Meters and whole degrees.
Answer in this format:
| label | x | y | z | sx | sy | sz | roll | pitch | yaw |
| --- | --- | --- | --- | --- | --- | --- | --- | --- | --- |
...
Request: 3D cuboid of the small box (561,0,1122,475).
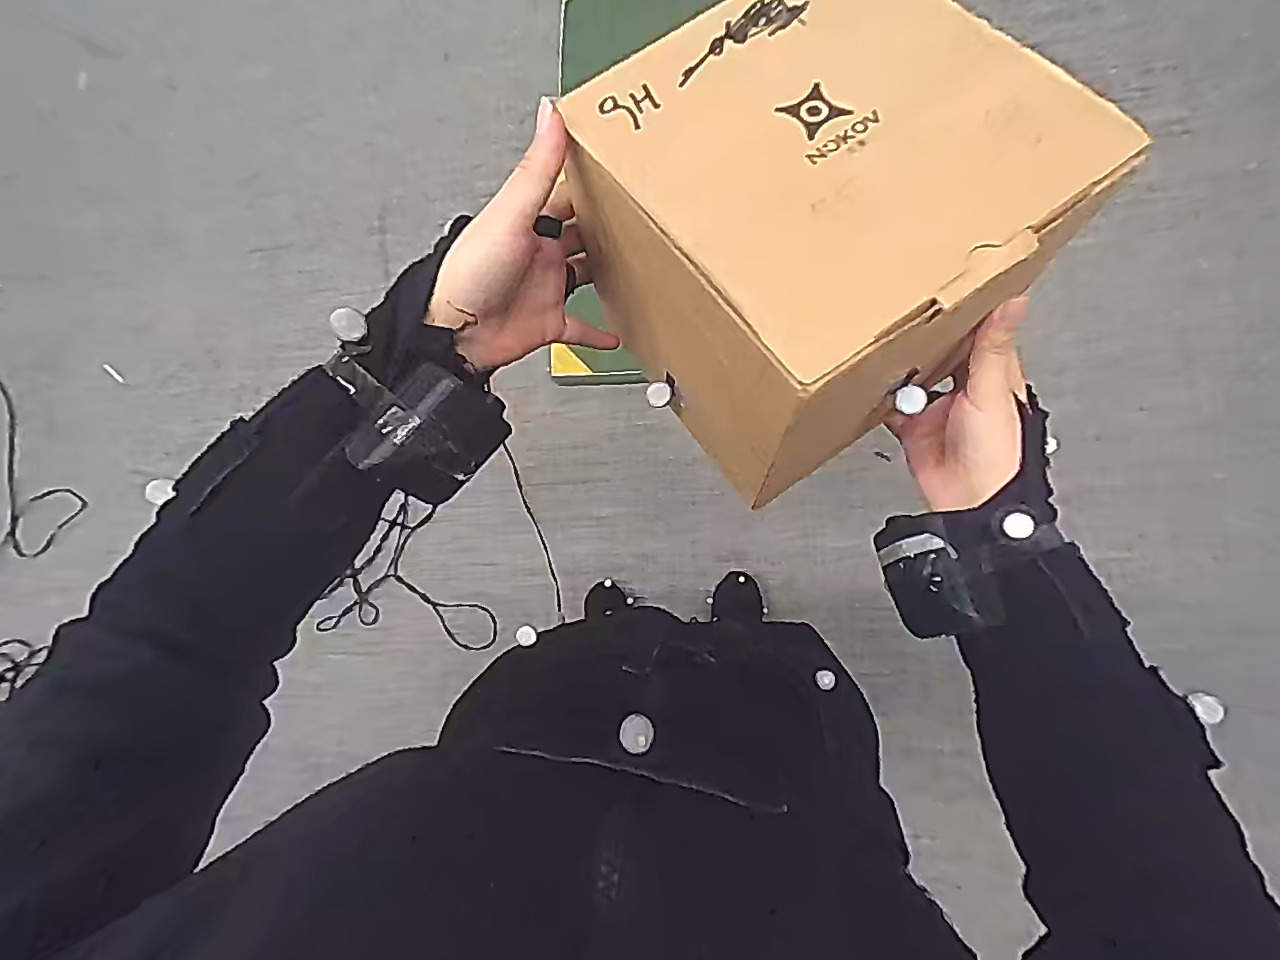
| label | x | y | z | sx | sy | sz | roll | pitch | yaw |
| --- | --- | --- | --- | --- | --- | --- | --- | --- | --- |
| small box | 0.083 | -0.120 | 0.304 | 0.168 | 0.176 | 0.179 | -34 | 73 | -6 |
